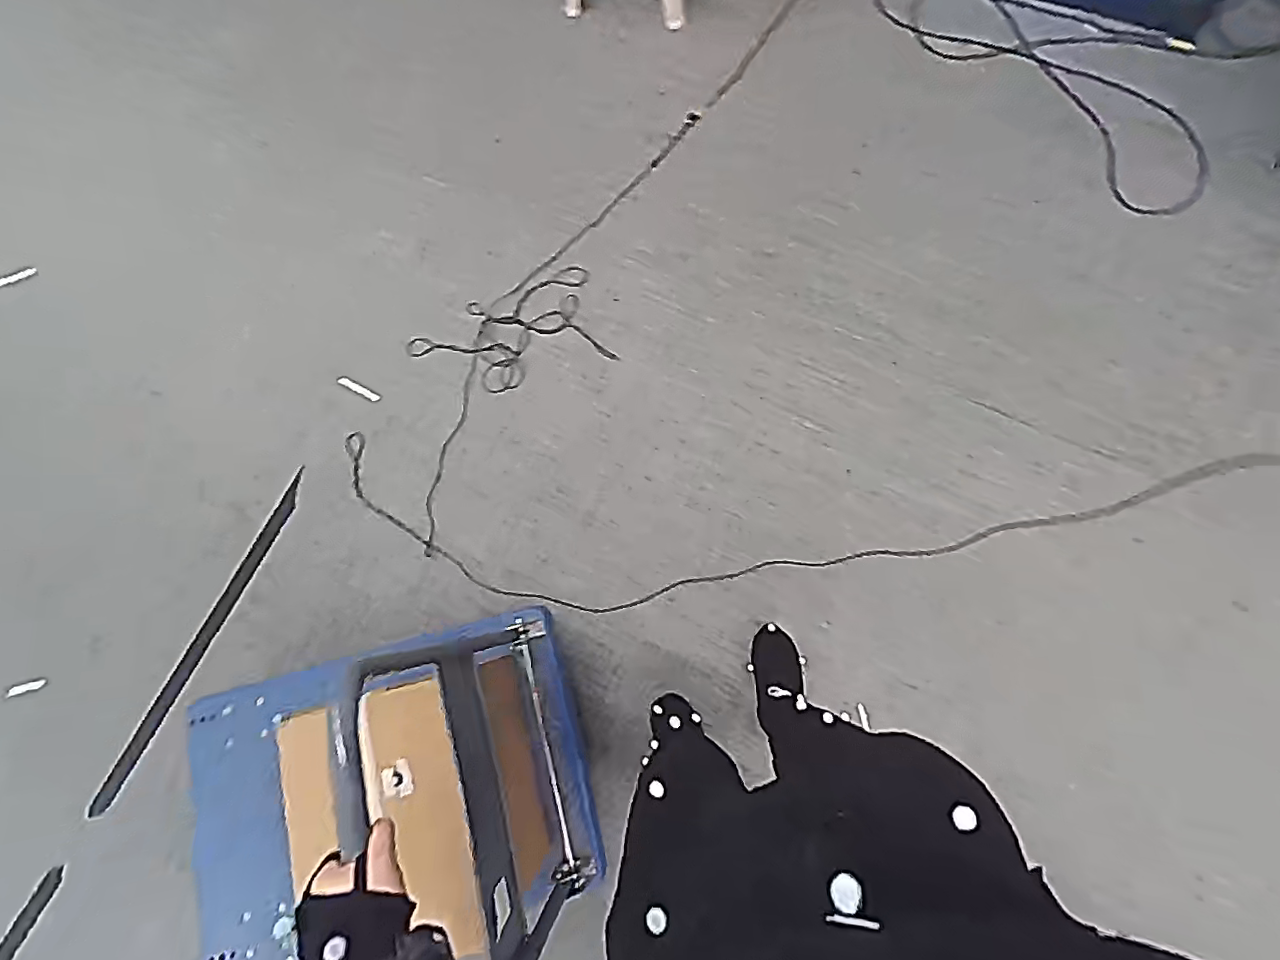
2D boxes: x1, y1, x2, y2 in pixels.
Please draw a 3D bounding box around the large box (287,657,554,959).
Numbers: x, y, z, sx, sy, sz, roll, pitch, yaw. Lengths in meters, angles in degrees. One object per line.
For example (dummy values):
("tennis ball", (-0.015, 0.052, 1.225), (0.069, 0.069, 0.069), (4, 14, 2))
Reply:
("large box", (-0.385, 0.583, 1.009), (0.320, 0.320, 0.408), (-15, 76, 2))
